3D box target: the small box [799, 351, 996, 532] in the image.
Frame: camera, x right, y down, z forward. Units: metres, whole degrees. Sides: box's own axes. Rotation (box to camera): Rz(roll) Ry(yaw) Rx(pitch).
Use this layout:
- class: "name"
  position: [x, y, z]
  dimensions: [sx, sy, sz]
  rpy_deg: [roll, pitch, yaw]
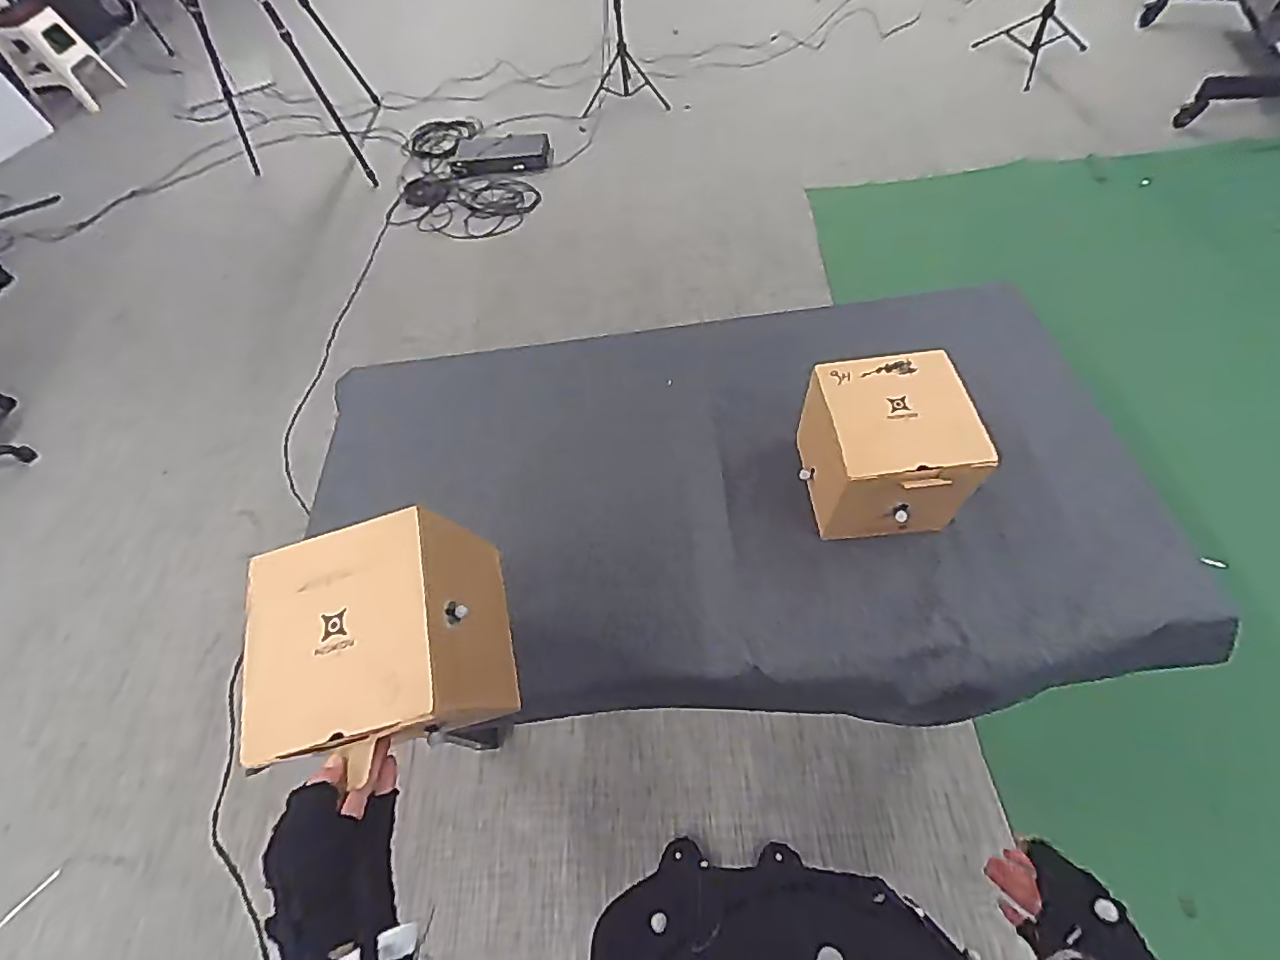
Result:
- class: "small box"
  position: [0.317, -0.040, 0.710]
  dimensions: [0.168, 0.176, 0.179]
  rpy_deg: [-6, 59, 3]

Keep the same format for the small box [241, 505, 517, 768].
- class: "small box"
  position: [-0.231, 0.148, 0.511]
  dimensions: [0.168, 0.176, 0.179]
  rpy_deg: [-18, 66, 4]
